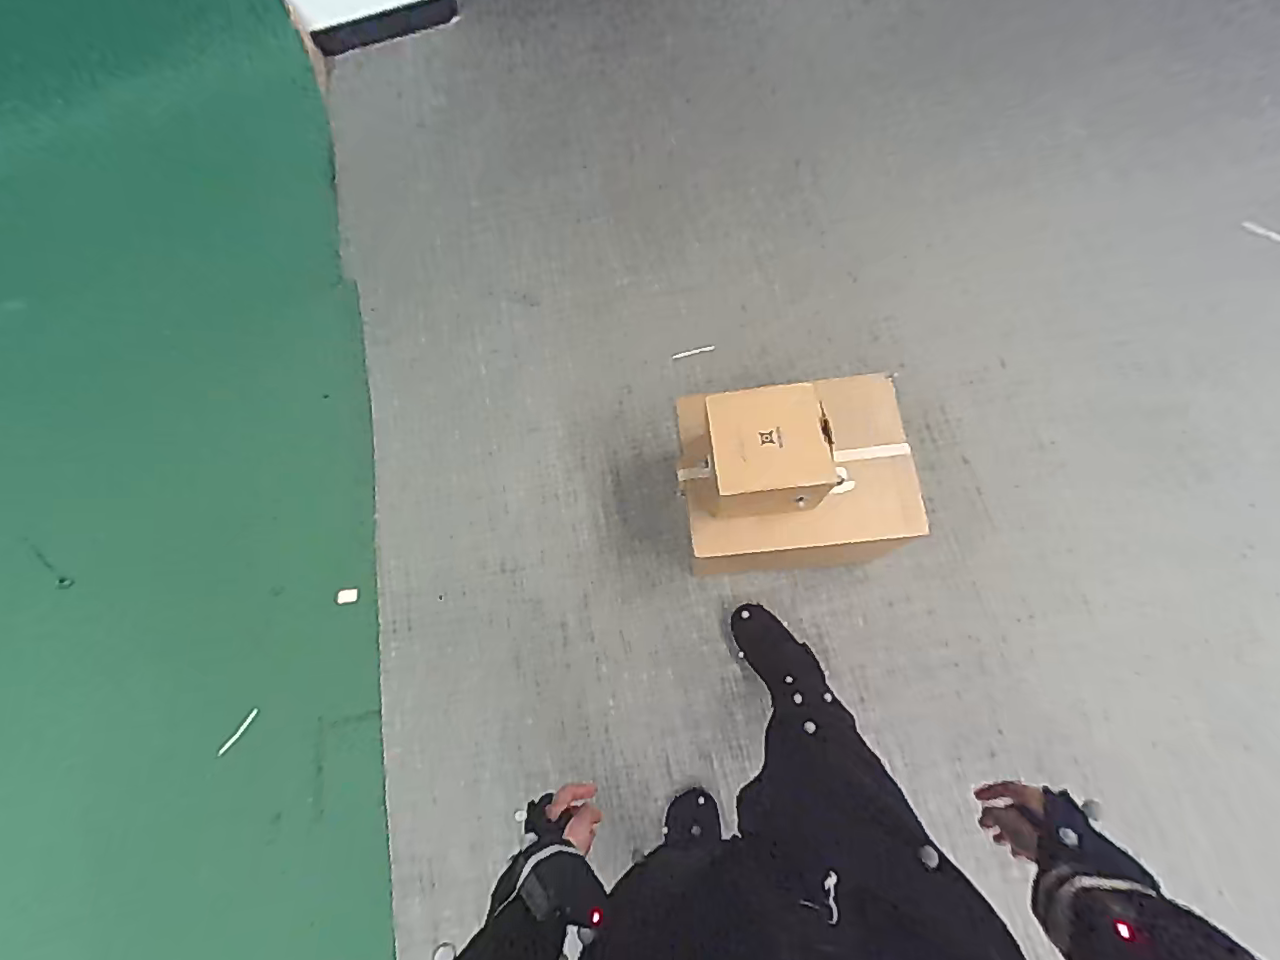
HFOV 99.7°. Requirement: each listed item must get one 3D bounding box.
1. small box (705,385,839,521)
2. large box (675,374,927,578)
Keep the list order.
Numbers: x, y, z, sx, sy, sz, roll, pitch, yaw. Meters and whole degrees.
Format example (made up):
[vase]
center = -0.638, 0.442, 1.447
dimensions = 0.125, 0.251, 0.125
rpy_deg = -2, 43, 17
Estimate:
[small box]
center = 0.203, -0.036, 0.885
dimensions = 0.179, 0.176, 0.168
rpy_deg = -8, 72, 4
[large box]
center = 0.292, 0.013, 1.116
dimensions = 0.408, 0.320, 0.320
rpy_deg = -6, 74, 3
